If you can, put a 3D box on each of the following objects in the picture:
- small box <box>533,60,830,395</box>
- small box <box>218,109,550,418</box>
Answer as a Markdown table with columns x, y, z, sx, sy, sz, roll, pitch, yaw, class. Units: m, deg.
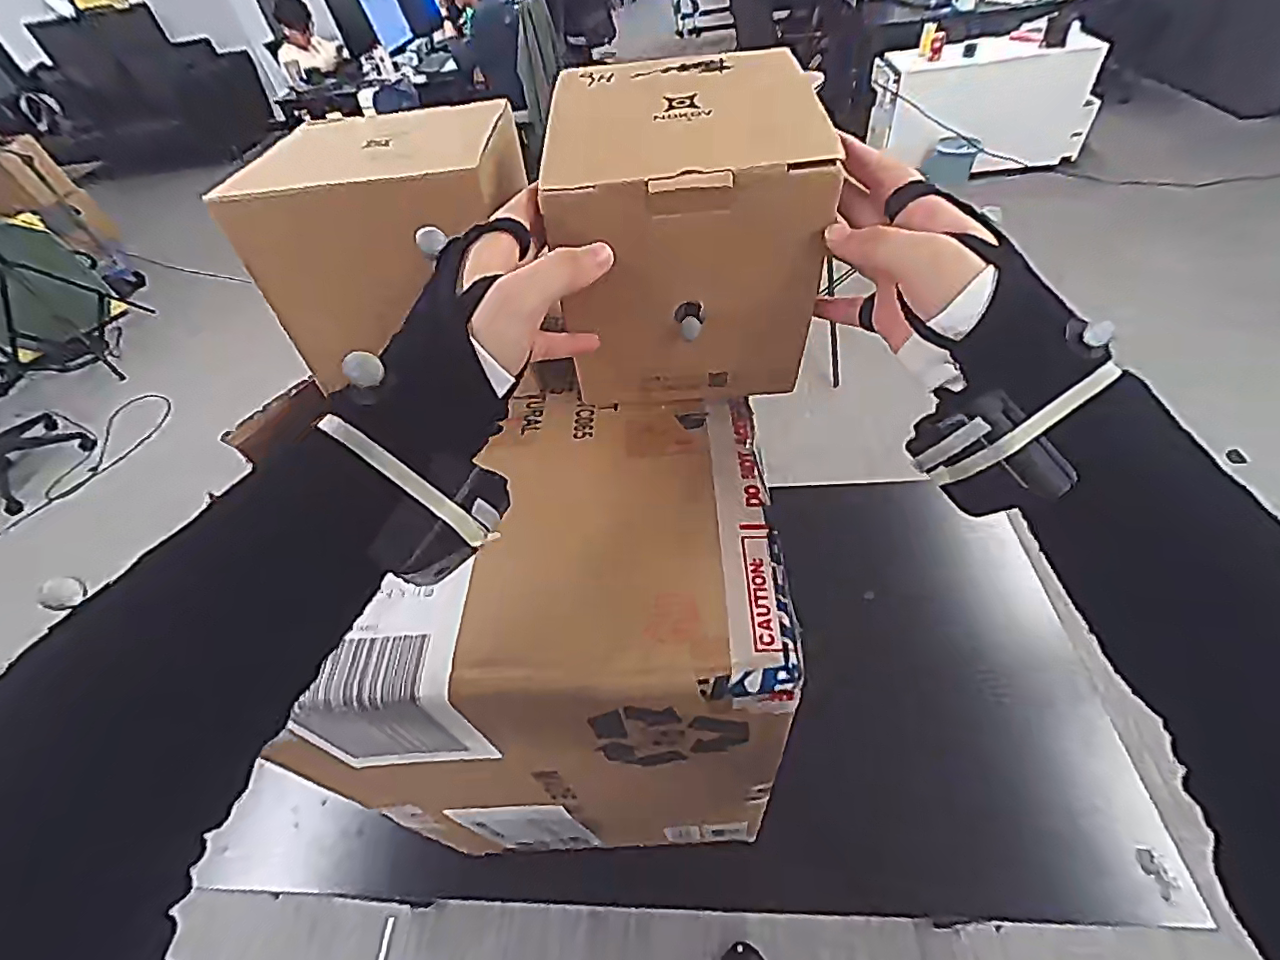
| x | y | z | sx | sy | sz | roll | pitch | yaw | class |
| --- | --- | --- | --- | --- | --- | --- | --- | --- | --- |
| 0.026 | -0.176 | 0.404 | 0.168 | 0.176 | 0.179 | -2 | 54 | 2 | small box |
| -0.173 | -0.174 | 0.439 | 0.168 | 0.176 | 0.179 | -7 | 47 | 2 | small box |
